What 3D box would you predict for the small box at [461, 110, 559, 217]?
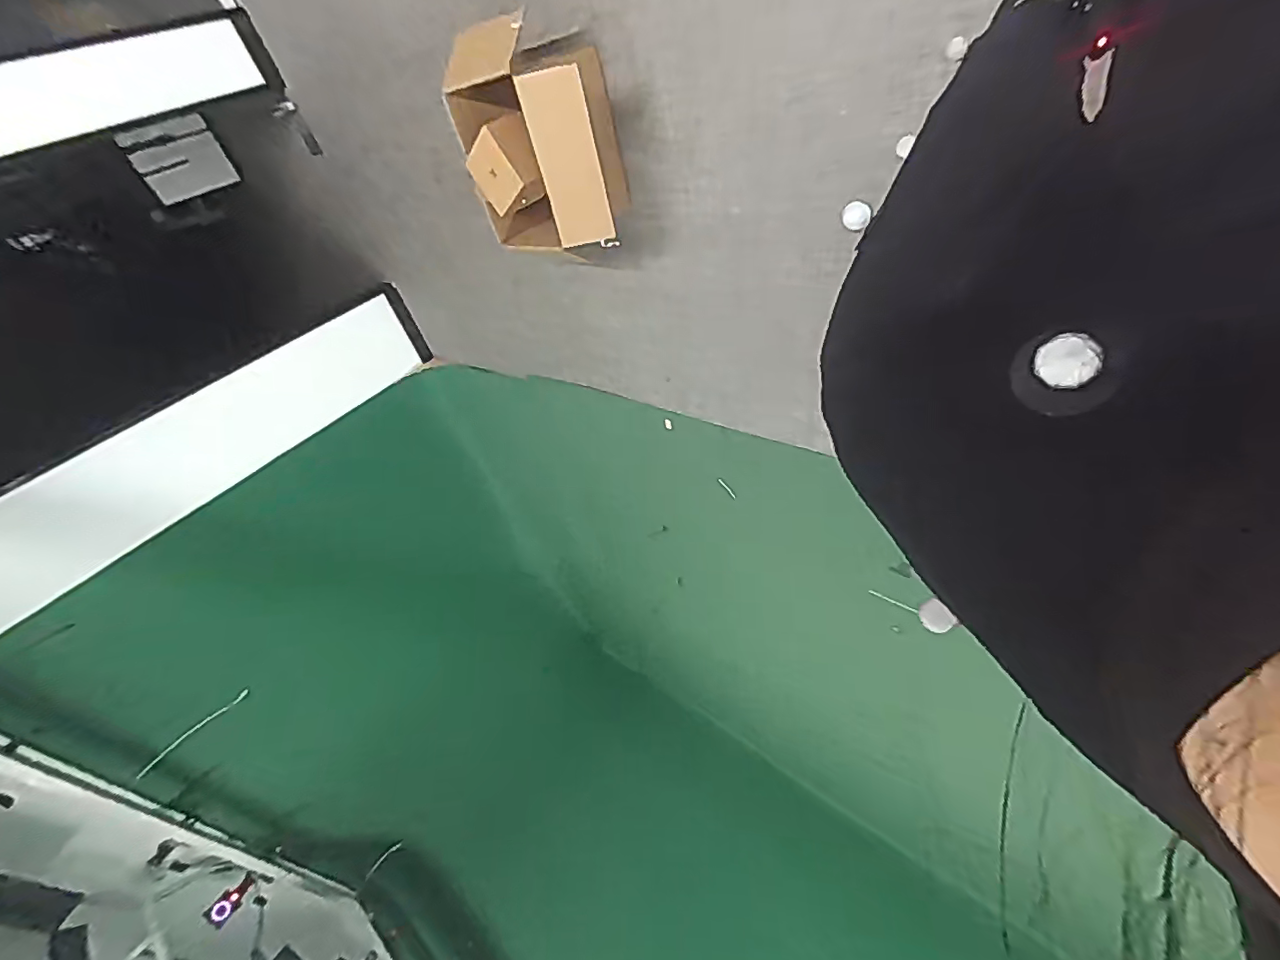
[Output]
[{"bbox_3d":[-0.352,-0.862,1.476,0.179,0.176,0.168,-9,120,55],"label":"small box"}]
